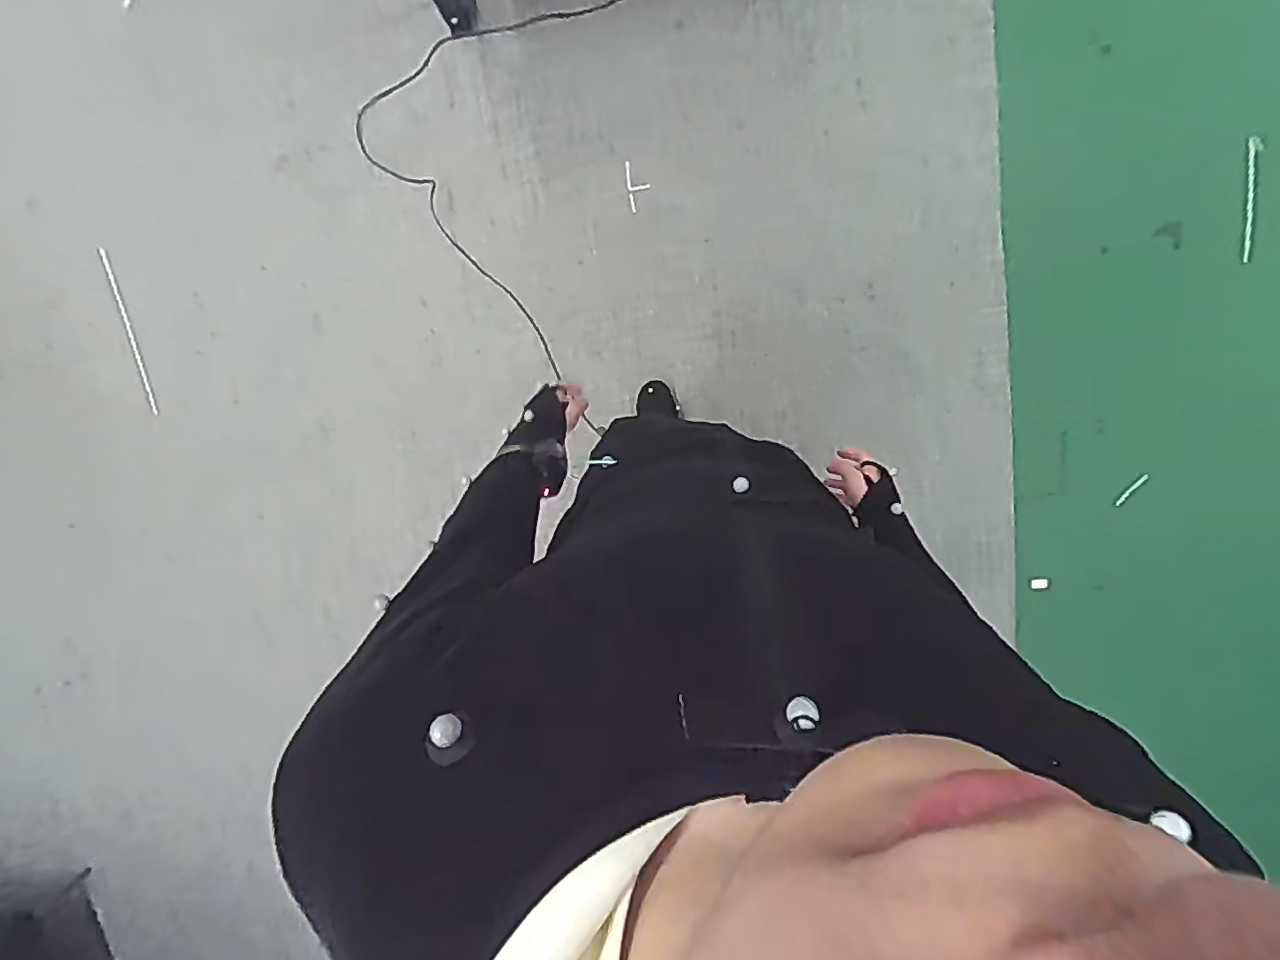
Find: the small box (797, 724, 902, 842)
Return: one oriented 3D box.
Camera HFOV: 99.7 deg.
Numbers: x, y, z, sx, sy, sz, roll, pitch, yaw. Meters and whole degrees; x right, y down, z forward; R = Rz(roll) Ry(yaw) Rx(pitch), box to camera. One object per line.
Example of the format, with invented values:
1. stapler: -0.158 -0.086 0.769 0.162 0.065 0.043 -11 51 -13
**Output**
1. small box: 0.470 0.680 1.230 0.179 0.176 0.168 -8 99 5
